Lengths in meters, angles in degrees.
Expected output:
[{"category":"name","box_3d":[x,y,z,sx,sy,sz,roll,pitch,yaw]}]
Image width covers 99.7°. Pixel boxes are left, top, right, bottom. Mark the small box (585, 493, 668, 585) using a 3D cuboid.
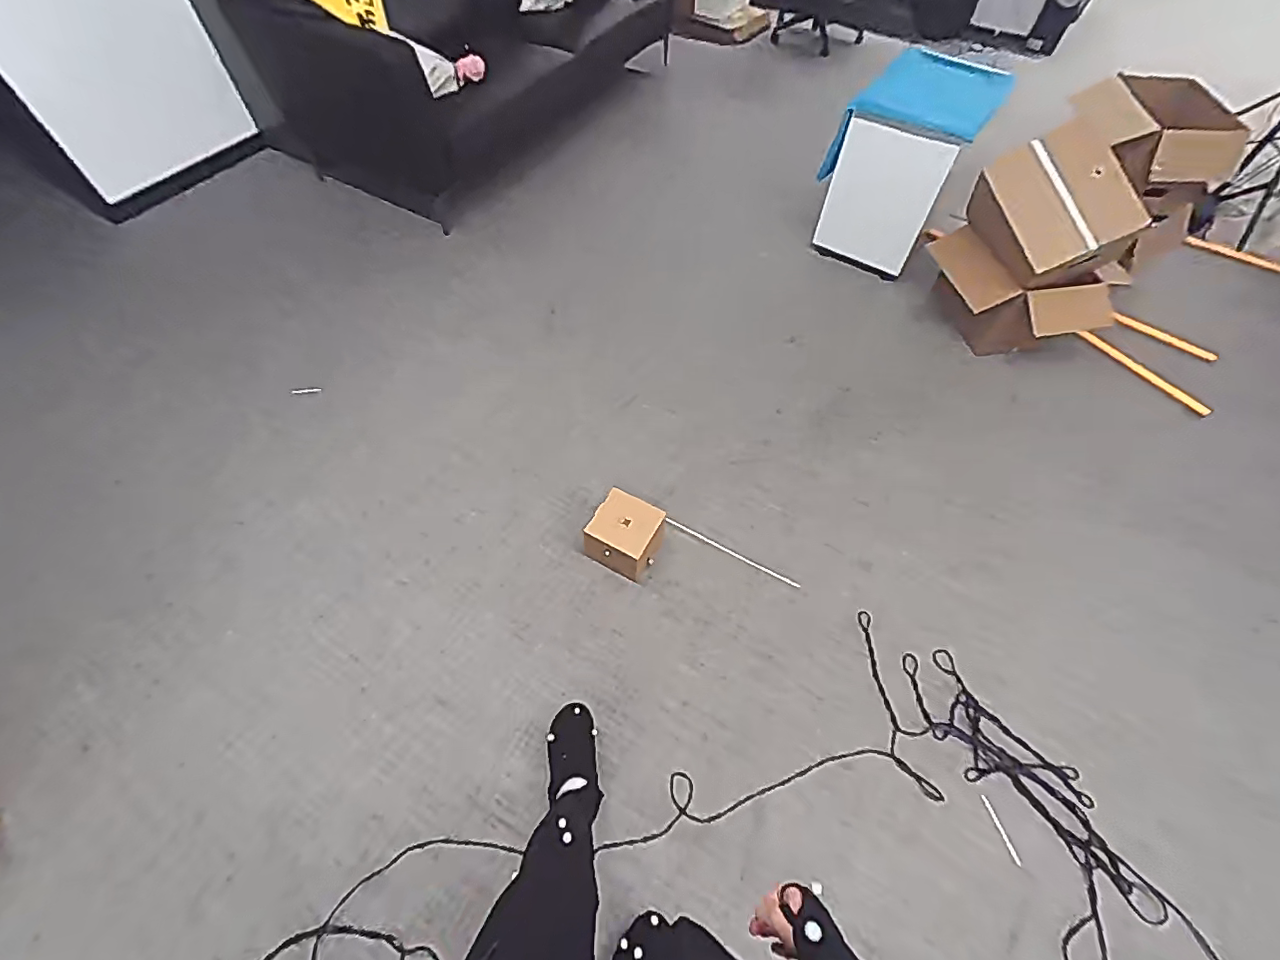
[{"category":"small box","box_3d":[-0.037,0.173,1.546,0.179,0.176,0.168,26,60,16]}]
